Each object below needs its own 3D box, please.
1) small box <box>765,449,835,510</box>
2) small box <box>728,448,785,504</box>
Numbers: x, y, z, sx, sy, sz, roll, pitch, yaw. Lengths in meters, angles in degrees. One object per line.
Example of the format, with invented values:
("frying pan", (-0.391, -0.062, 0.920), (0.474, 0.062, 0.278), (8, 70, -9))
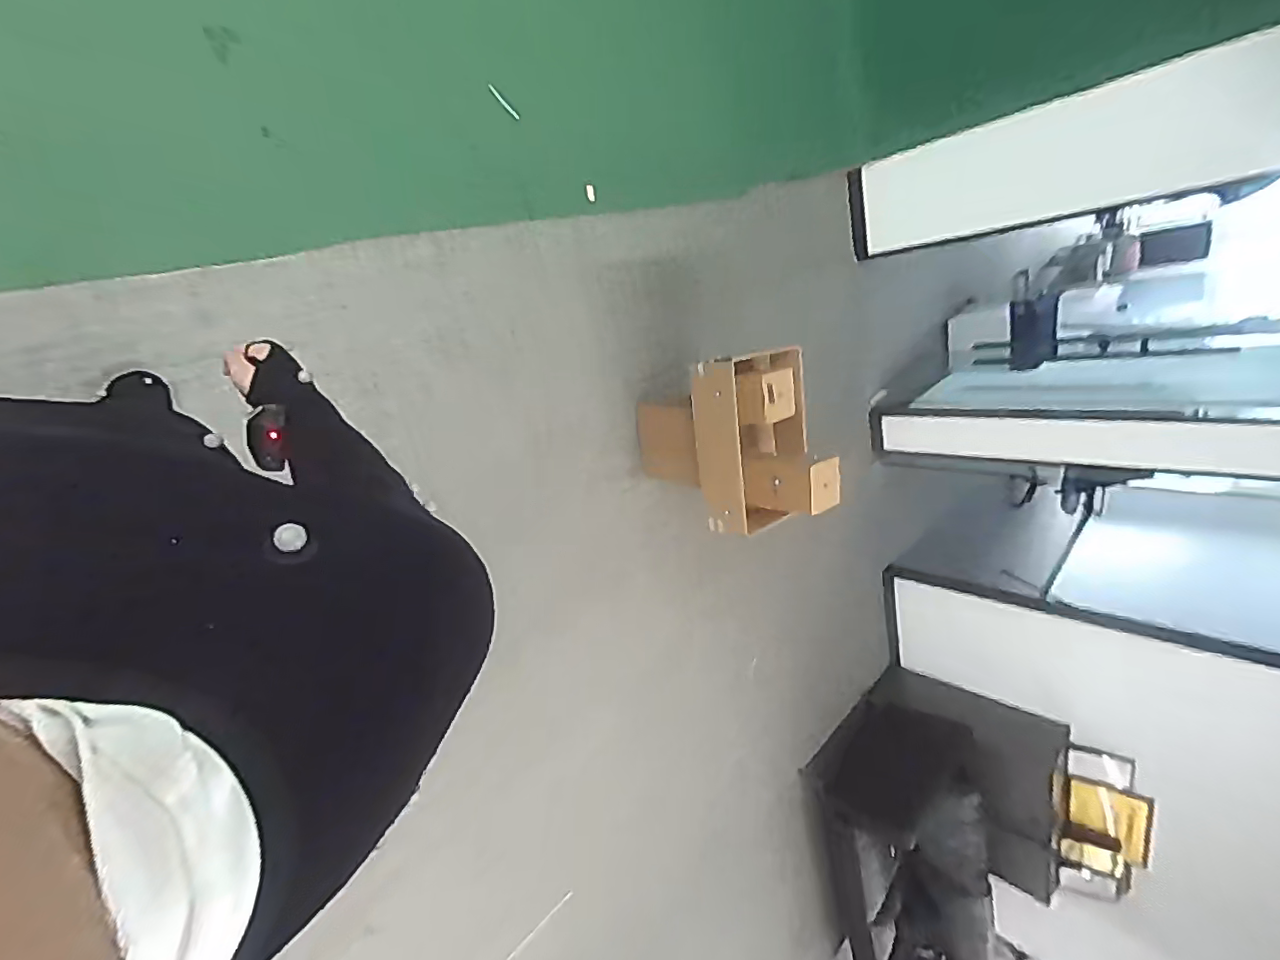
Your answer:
("small box", (0.546, -0.007, 1.846), (0.179, 0.176, 0.168), (-16, 107, -39))
("small box", (0.439, -0.022, 1.968), (0.179, 0.176, 0.168), (-15, 106, -39))
